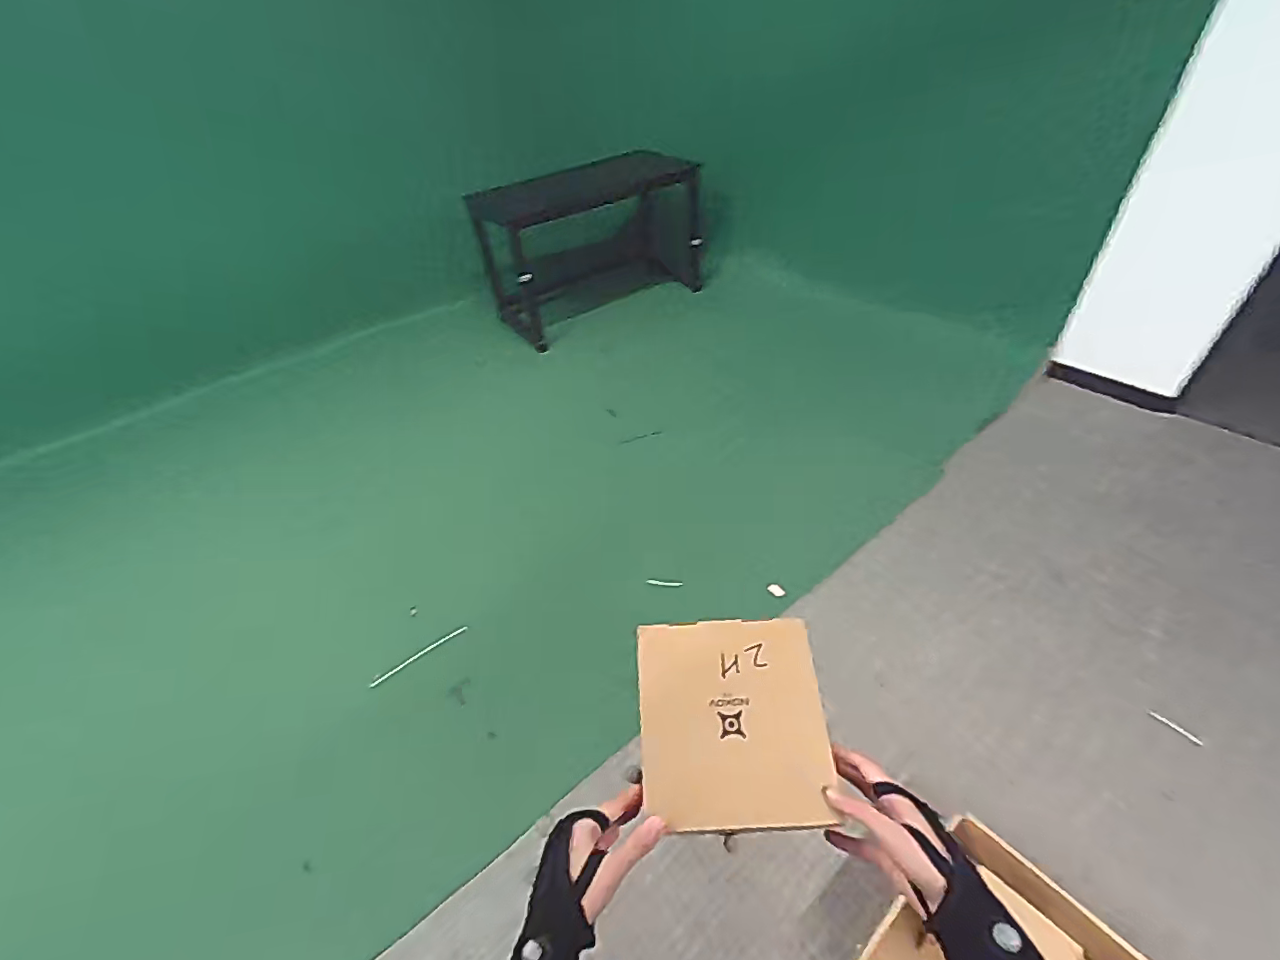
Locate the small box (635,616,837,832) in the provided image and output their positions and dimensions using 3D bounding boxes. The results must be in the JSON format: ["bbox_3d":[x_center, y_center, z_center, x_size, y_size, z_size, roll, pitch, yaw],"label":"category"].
[{"bbox_3d":[0.085,0.257,0.557,0.168,0.176,0.179,-4,55,2],"label":"small box"}]

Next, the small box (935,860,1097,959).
[{"bbox_3d":[0.686,0.866,1.008,0.168,0.176,0.179,-37,51,-25],"label":"small box"}]
